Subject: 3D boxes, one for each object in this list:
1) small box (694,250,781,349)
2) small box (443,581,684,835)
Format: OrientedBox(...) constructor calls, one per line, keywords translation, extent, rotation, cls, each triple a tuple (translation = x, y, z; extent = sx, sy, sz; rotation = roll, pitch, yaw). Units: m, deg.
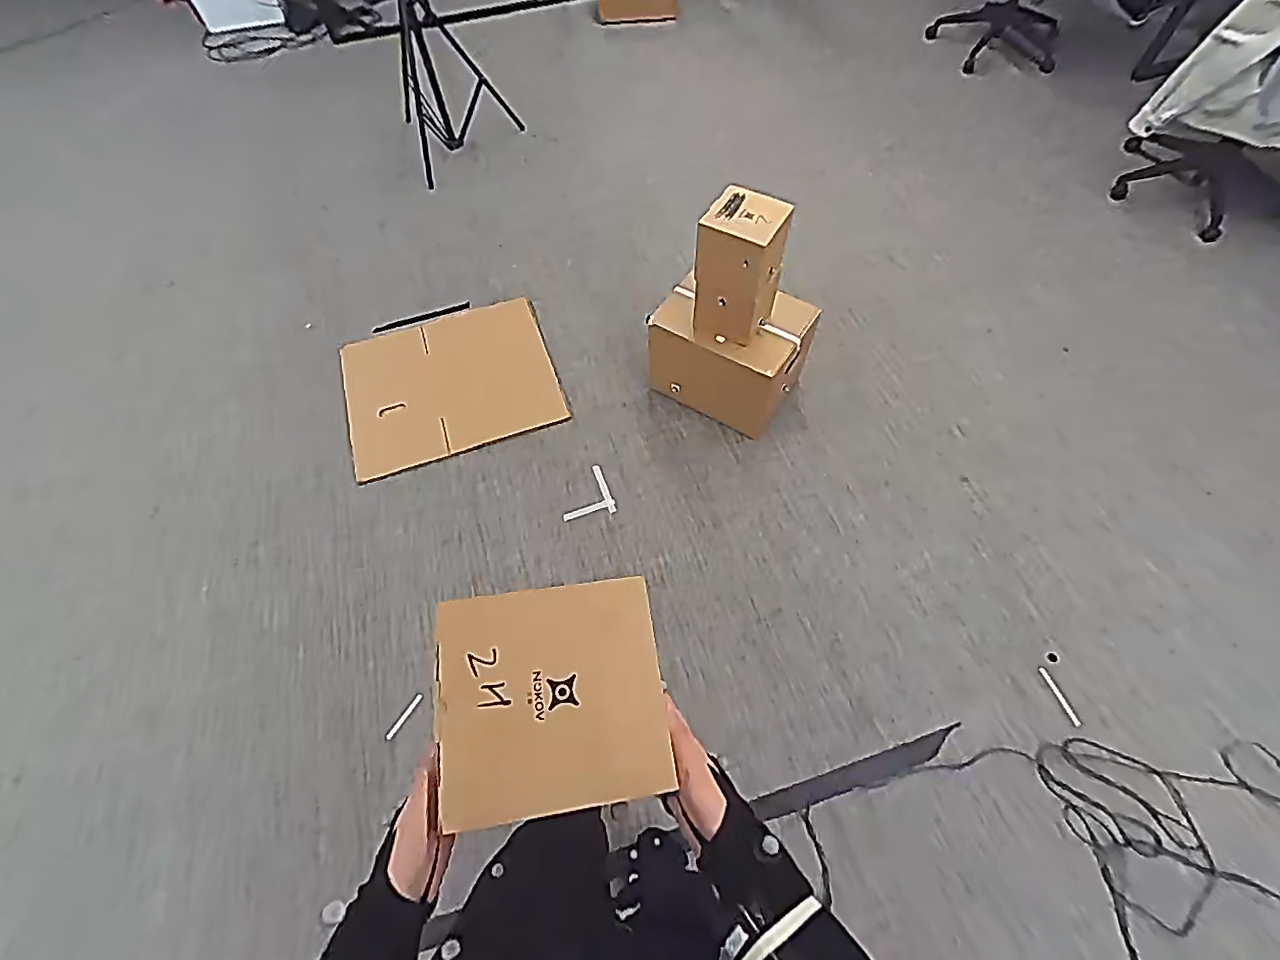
OrientedBox(translation=(0.261, -0.492, 1.487), extent=(0.179, 0.176, 0.168), rotation=(27, 66, 15), cls="small box")
OrientedBox(translation=(-0.070, 0.200, 0.492), extent=(0.179, 0.176, 0.168), rotation=(-6, 66, -8), cls="small box")
